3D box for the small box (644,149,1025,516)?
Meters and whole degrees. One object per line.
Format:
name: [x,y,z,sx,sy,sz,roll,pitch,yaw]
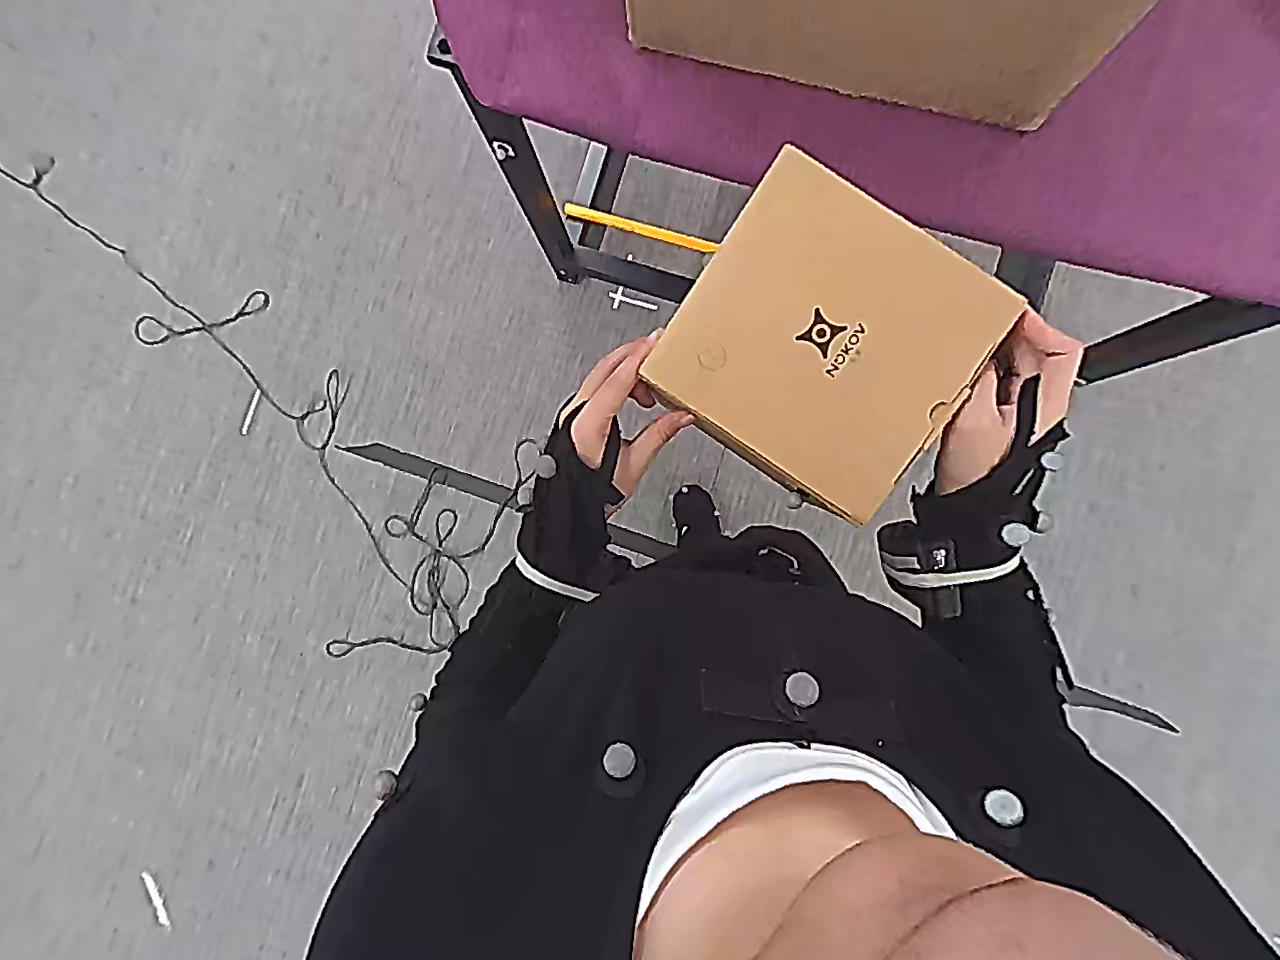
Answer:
small box: [0.122,-0.094,0.413,0.179,0.176,0.168,34,96,1]
